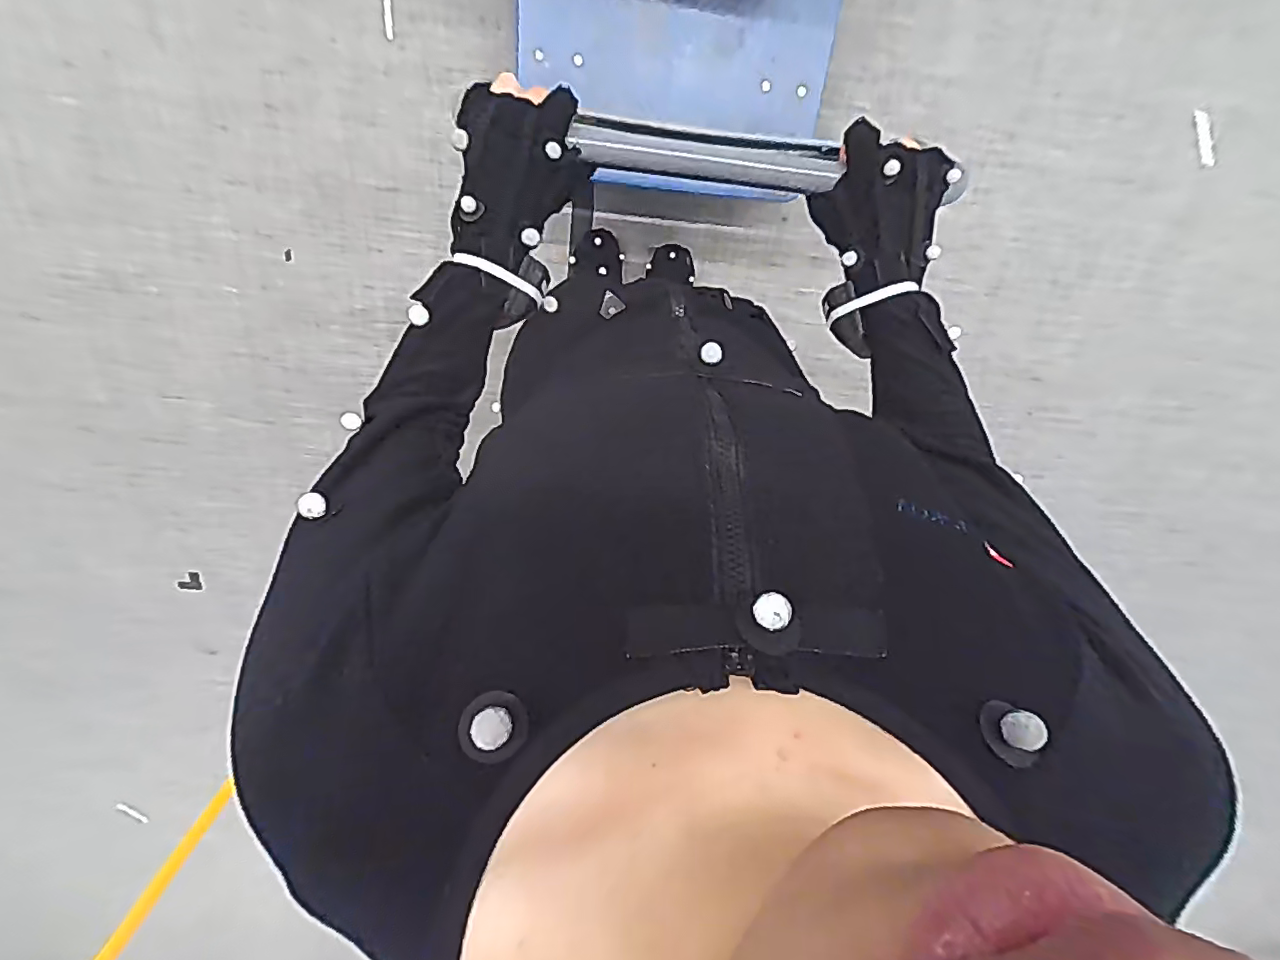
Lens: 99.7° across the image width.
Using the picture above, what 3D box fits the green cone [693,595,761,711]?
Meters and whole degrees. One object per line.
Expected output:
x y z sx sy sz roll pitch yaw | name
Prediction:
0.297 0.545 1.649 0.202 0.368 0.200 8 116 -7 | green cone
